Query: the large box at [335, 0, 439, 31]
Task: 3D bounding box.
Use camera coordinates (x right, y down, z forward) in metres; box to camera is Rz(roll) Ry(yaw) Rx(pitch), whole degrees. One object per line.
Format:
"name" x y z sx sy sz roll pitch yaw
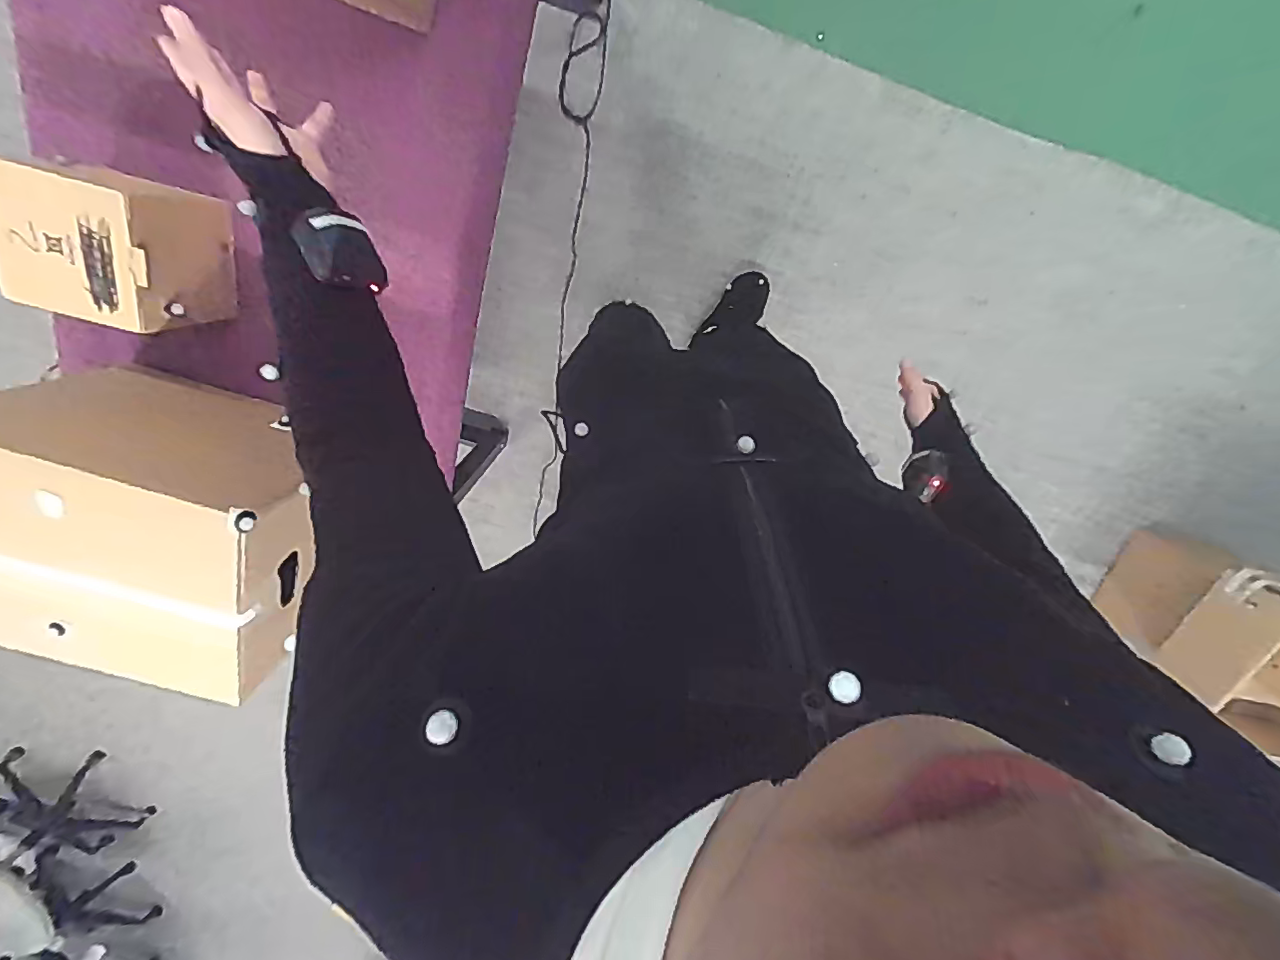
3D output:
"large box" -0.405 -0.684 0.464 0.408 0.320 0.320 17 114 -5
